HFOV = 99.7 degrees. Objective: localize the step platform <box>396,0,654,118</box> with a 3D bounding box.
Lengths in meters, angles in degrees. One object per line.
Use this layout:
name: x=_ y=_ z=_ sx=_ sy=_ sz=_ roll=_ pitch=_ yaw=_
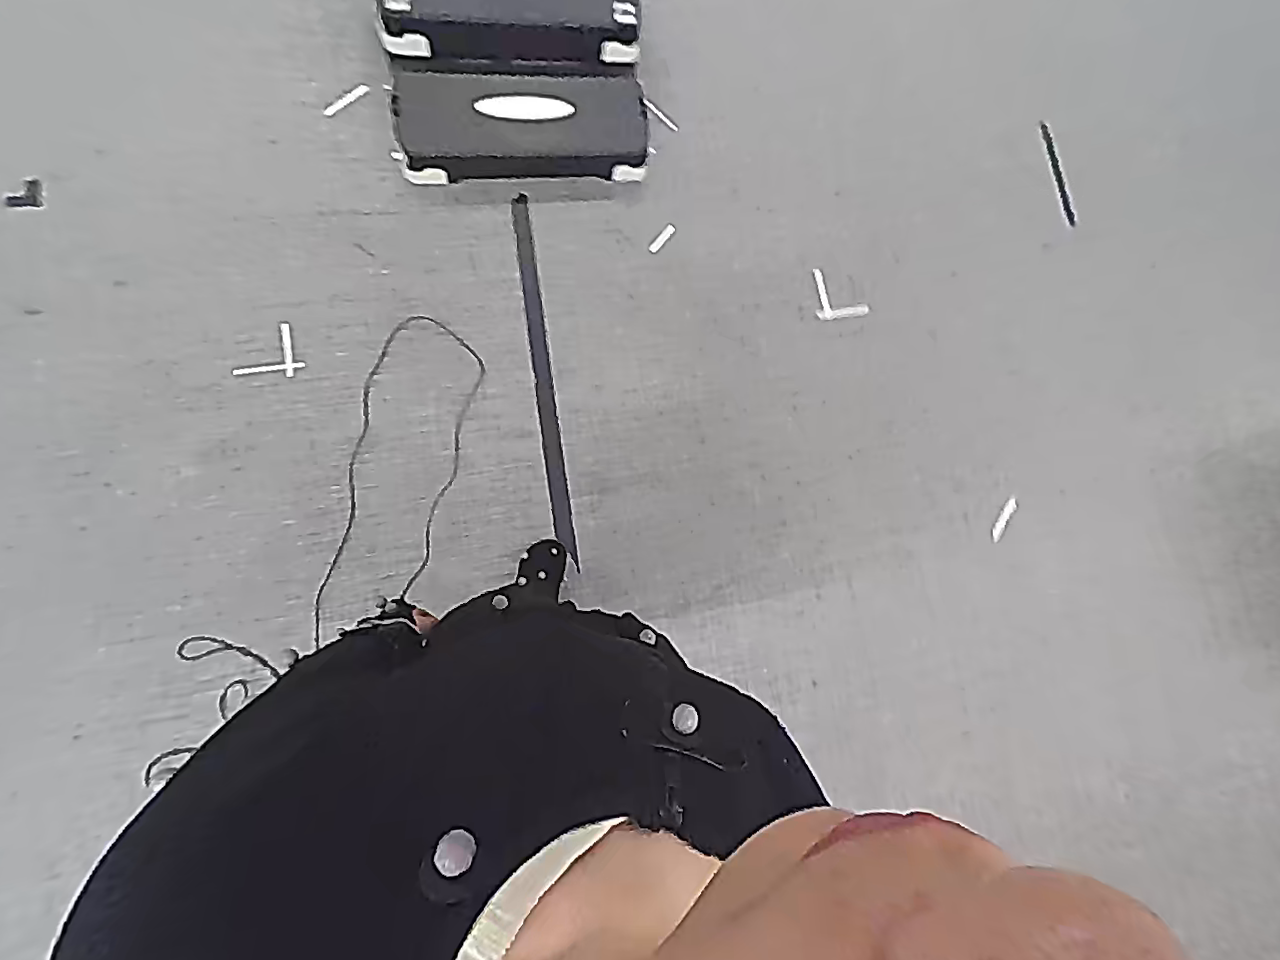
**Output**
step platform: x=-0.303 y=-1.221 z=1.496 sx=0.684 sy=0.204 sz=0.286 roll=-3 pitch=81 yaw=-12
